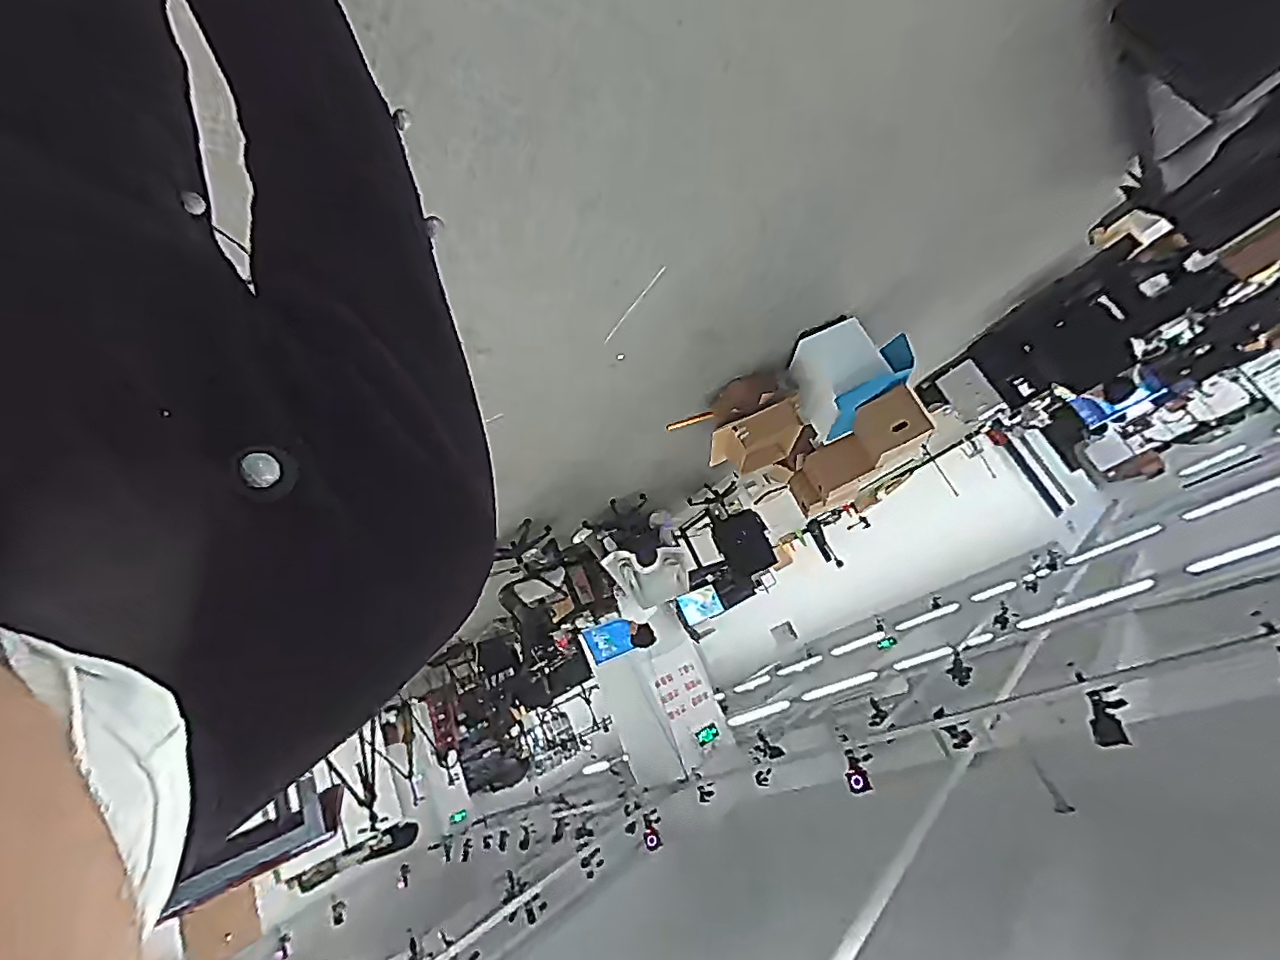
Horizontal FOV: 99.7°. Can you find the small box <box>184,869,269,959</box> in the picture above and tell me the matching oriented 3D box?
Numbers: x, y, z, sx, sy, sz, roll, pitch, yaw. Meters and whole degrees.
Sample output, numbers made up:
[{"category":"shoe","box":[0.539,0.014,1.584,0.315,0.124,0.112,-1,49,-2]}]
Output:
[{"category":"small box","box":[-1.231,1.293,1.608,0.179,0.176,0.168,-8,154,-42]}]

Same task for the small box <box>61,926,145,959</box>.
[{"category":"small box","box":[-1.417,1.310,1.416,0.179,0.176,0.168,-6,154,-44]}]
